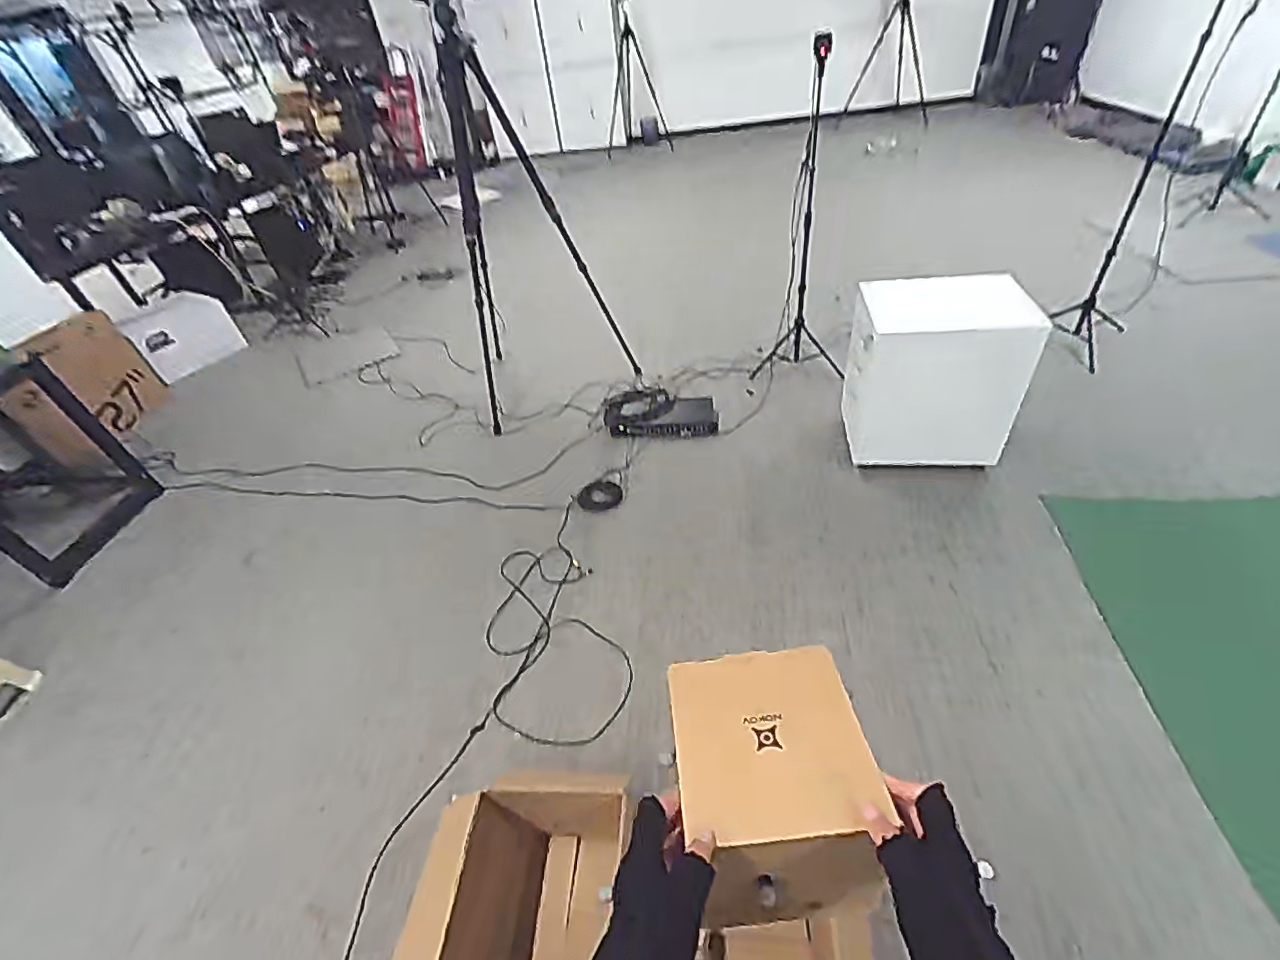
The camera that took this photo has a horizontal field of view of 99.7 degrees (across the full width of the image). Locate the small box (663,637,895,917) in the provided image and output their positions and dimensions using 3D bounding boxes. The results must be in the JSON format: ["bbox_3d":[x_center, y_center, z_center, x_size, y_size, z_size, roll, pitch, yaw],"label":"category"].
[{"bbox_3d":[0.118,0.281,0.513,0.168,0.176,0.179,-8,33,2],"label":"small box"}]
